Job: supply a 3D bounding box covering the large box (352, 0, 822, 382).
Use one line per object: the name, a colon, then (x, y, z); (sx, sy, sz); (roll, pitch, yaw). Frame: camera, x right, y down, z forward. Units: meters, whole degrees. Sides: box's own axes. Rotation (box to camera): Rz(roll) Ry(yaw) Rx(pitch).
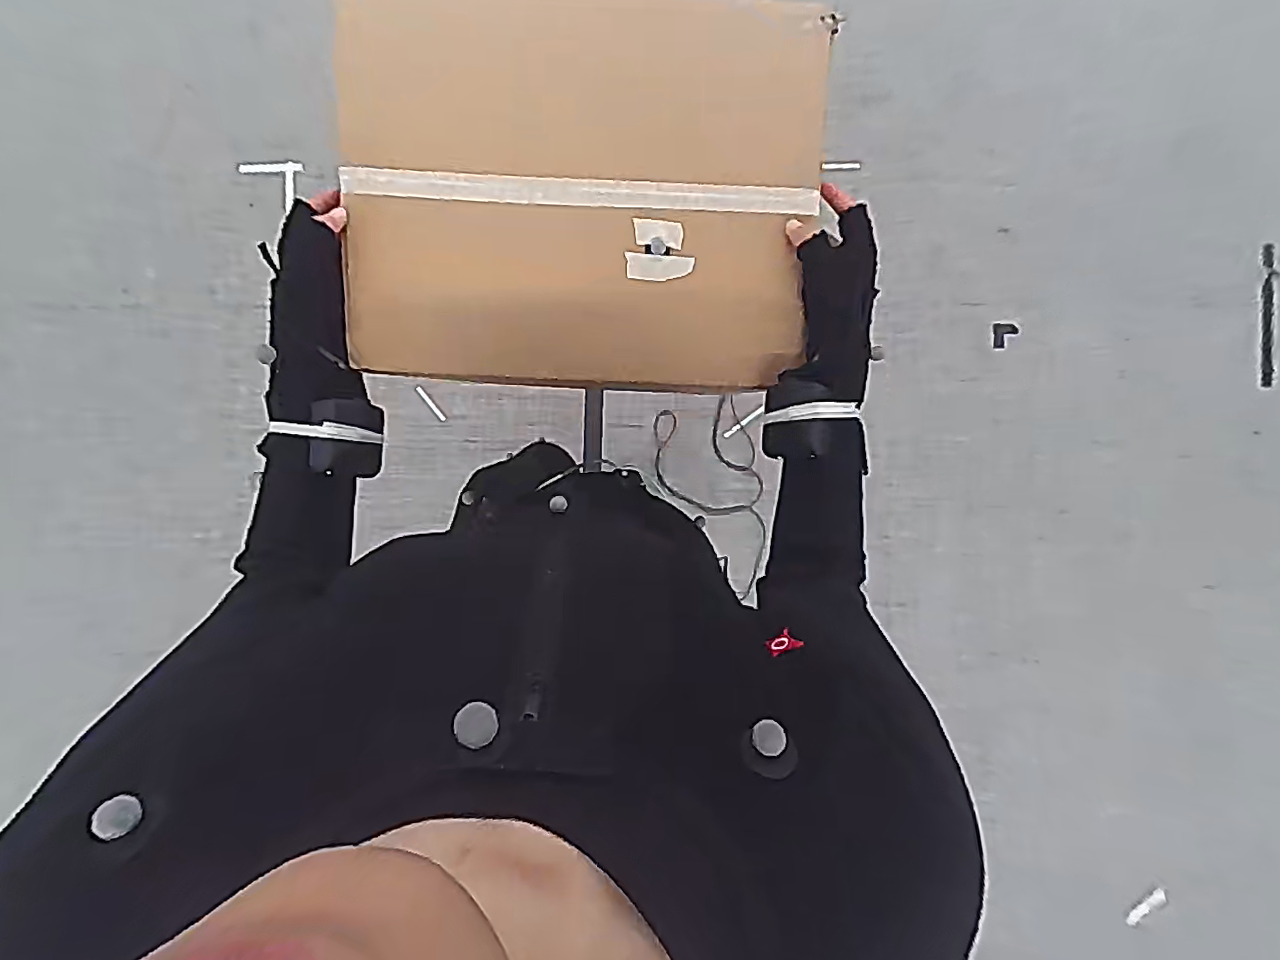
large box: (-0.052, -0.278, 0.623); (0.408, 0.320, 0.320); (2, 99, -2)
